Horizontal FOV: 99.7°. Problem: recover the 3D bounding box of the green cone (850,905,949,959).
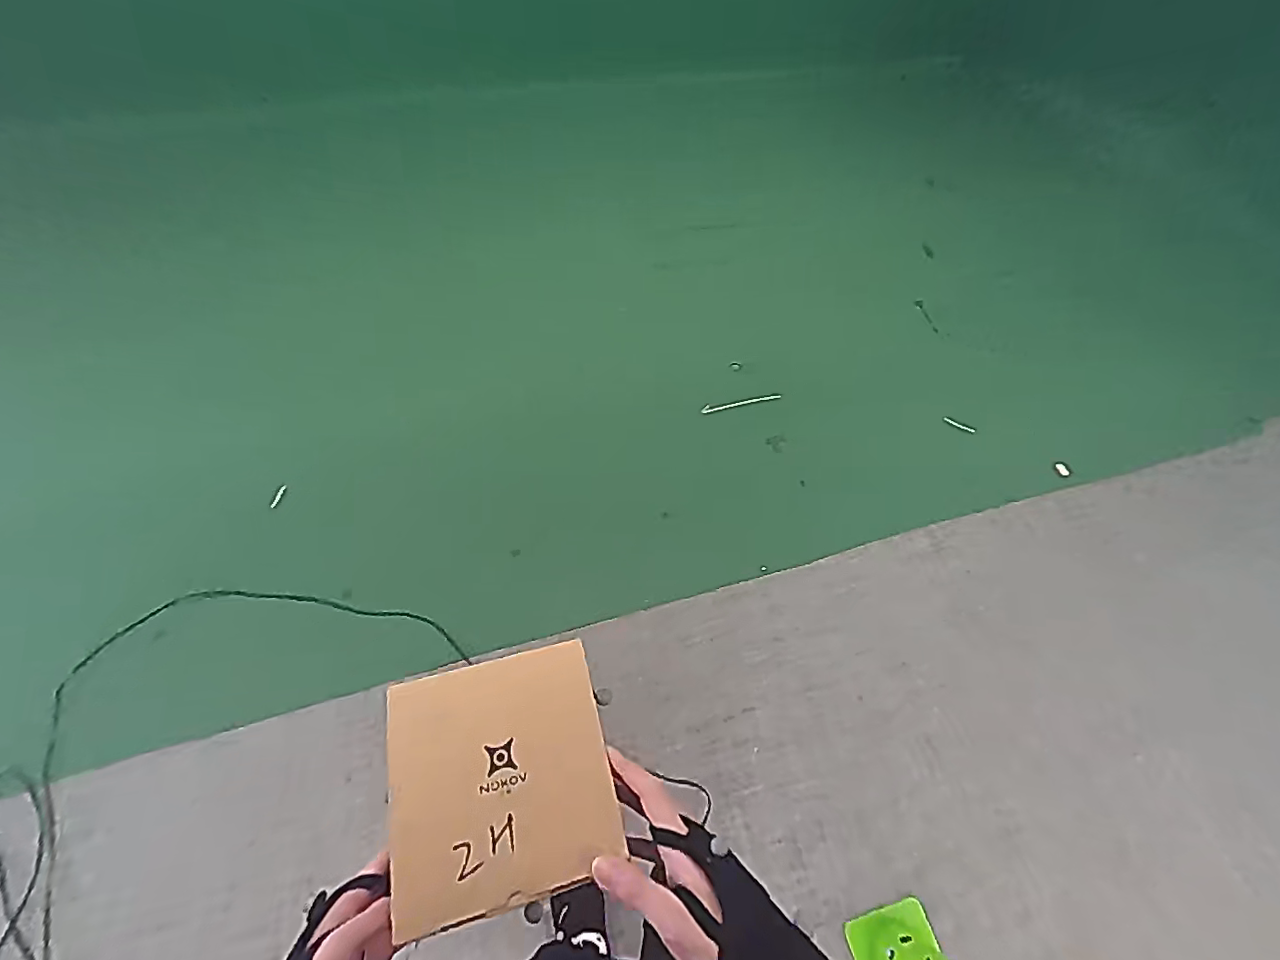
[{"bbox_3d":[0.594,0.990,1.042,0.202,0.368,0.200,-13,60,-10],"label":"green cone"}]
